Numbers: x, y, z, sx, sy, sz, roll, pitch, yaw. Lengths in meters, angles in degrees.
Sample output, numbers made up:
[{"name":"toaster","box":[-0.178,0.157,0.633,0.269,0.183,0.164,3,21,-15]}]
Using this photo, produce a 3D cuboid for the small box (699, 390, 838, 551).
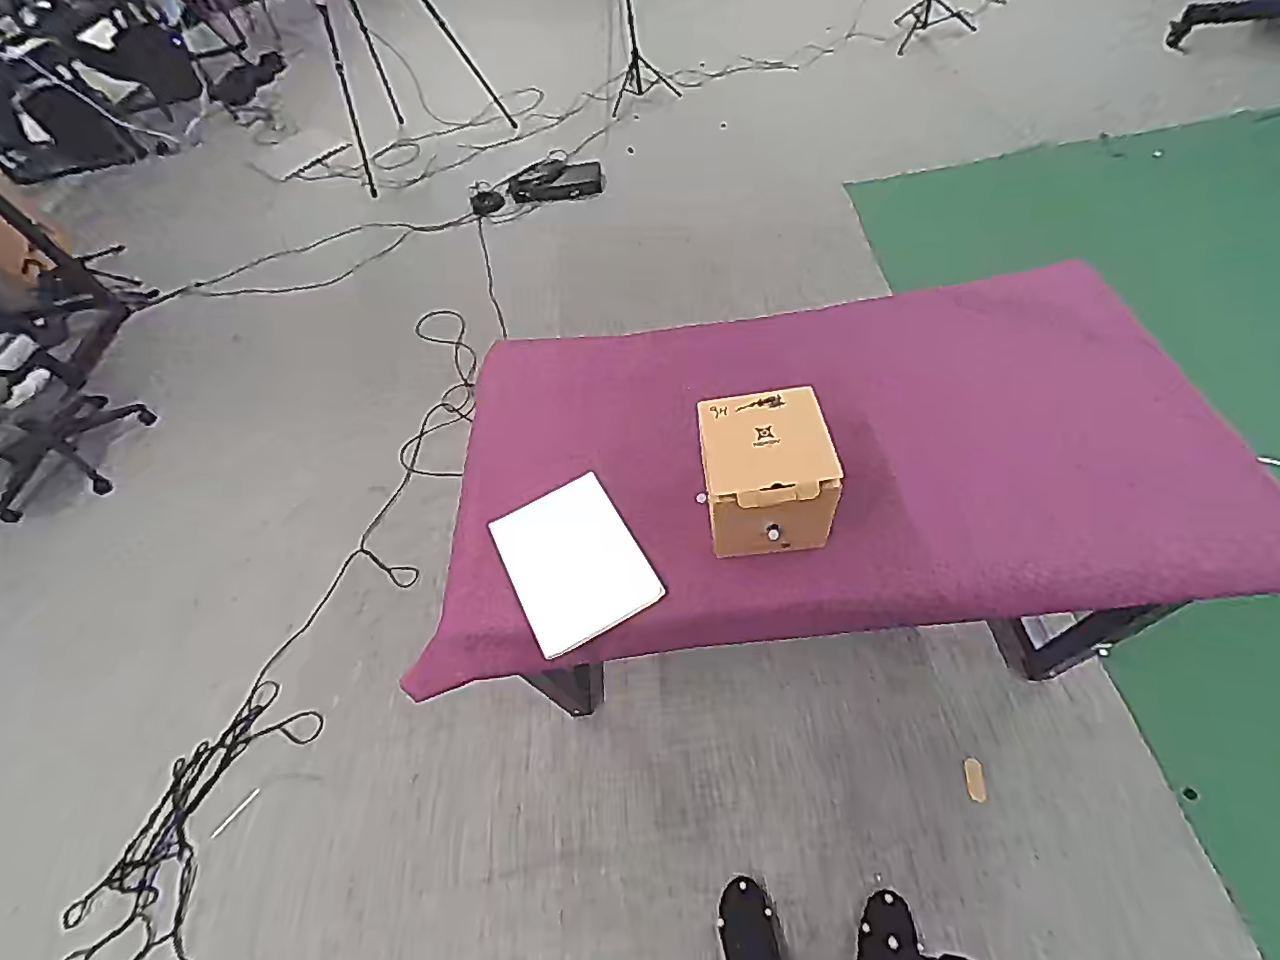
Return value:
[{"name":"small box","box":[0.181,-0.005,0.800,0.168,0.176,0.179,-7,56,6]}]
